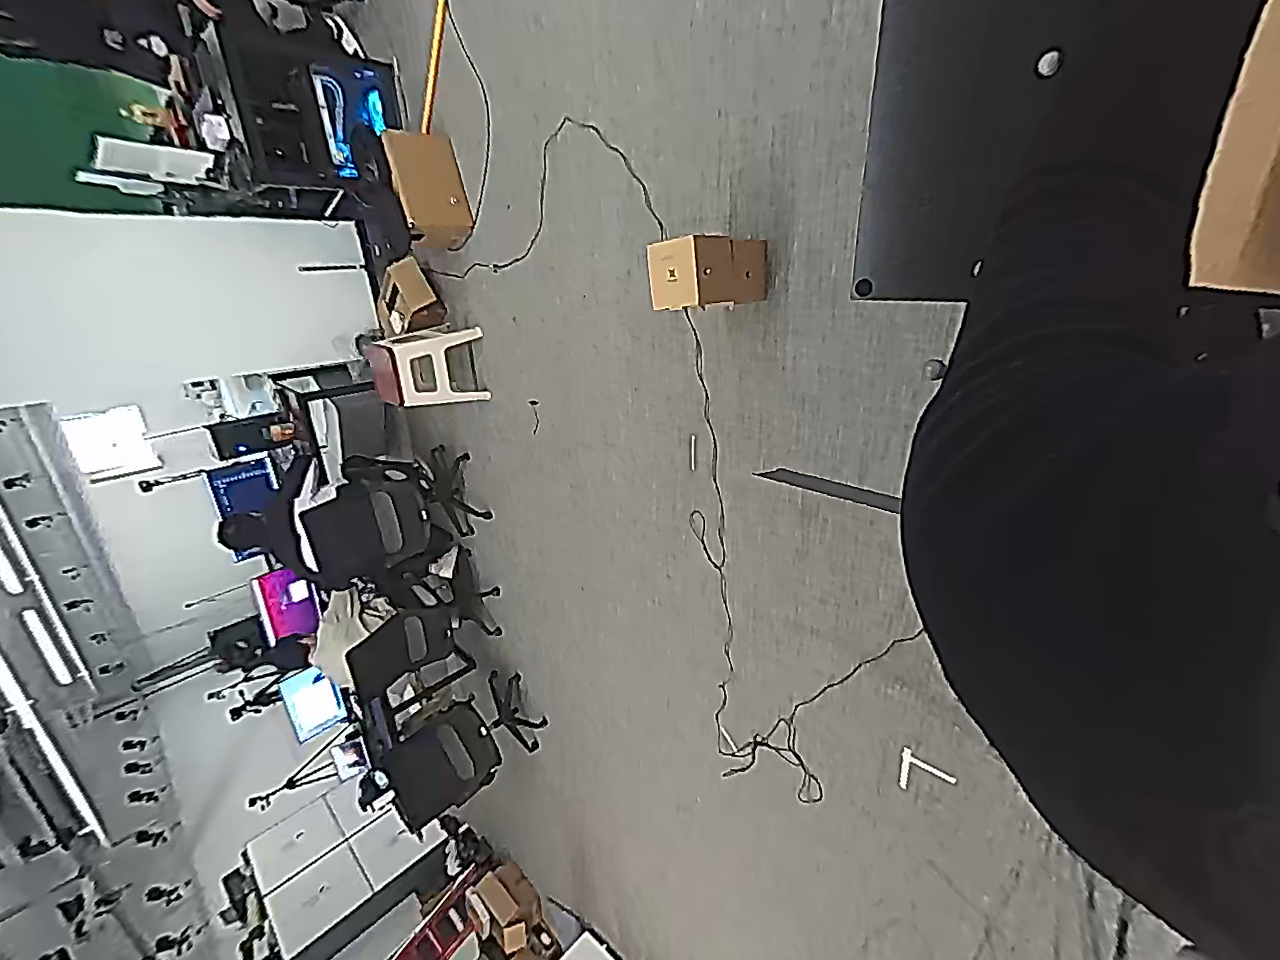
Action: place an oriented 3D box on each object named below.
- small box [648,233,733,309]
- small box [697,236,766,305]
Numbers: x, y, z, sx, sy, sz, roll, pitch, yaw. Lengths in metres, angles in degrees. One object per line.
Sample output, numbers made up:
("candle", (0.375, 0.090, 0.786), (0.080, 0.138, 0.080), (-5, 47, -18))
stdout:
("small box", (0.144, -0.576, 1.491), (0.168, 0.176, 0.179), (9, 113, 43))
("small box", (0.259, -0.617, 1.599), (0.168, 0.176, 0.179), (14, 117, 43))
